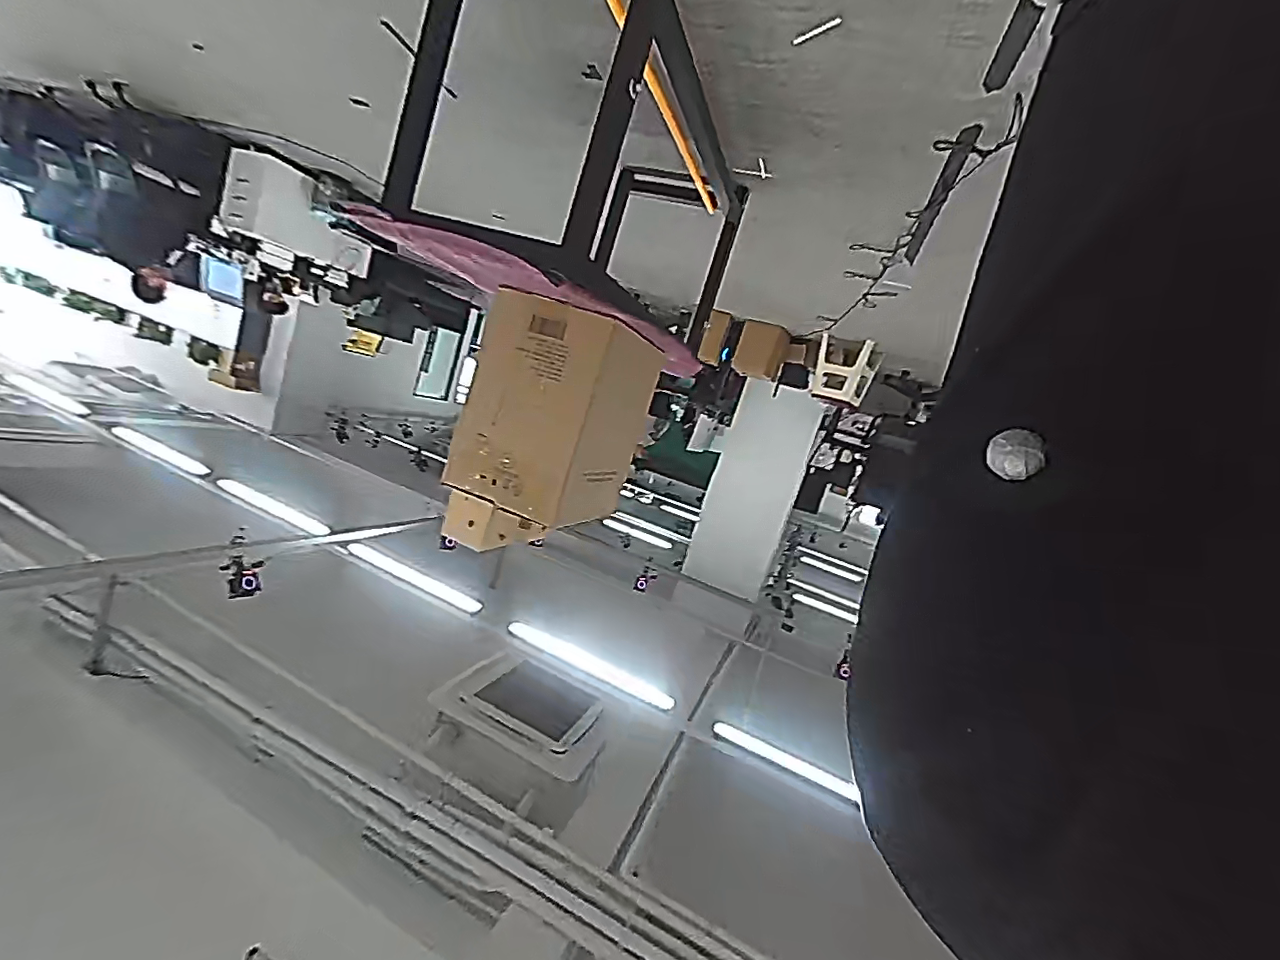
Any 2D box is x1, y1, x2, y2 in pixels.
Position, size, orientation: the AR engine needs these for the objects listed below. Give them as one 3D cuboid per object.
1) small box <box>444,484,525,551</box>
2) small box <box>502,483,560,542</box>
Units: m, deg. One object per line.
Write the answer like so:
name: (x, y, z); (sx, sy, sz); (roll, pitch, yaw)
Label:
small box: (-0.502, 0.115, 1.755); (0.168, 0.176, 0.179); (21, -170, 21)
small box: (-0.413, 0.112, 1.983); (0.168, 0.176, 0.179); (18, -174, 18)
